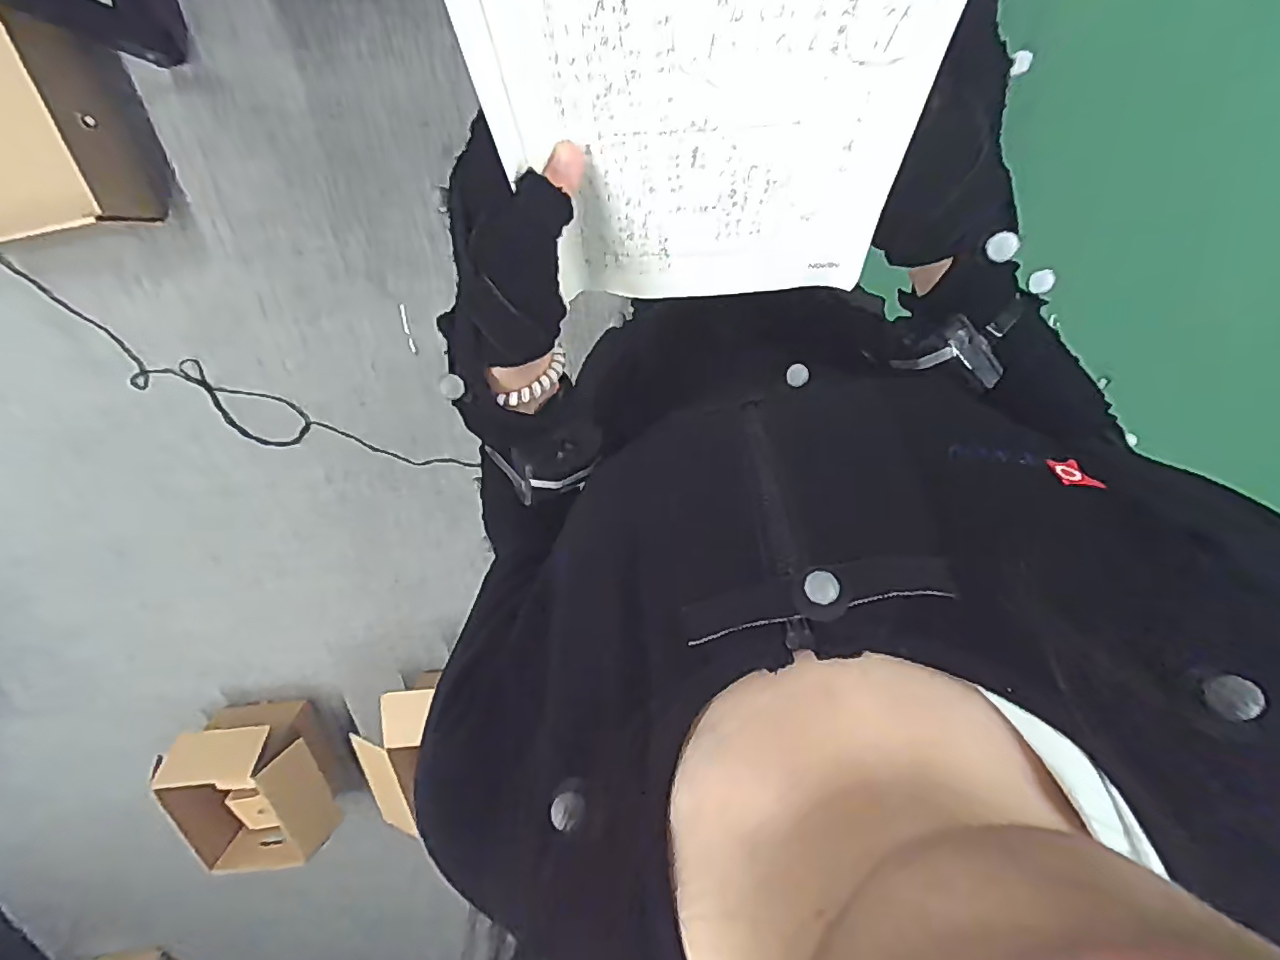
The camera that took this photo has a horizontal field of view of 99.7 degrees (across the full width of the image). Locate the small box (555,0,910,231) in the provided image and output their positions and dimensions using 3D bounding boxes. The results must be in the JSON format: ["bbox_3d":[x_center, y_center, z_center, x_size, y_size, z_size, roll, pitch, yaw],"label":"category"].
[{"bbox_3d":[0.042,-0.273,0.315,0.168,0.176,0.179,-10,129,8],"label":"small box"}]
